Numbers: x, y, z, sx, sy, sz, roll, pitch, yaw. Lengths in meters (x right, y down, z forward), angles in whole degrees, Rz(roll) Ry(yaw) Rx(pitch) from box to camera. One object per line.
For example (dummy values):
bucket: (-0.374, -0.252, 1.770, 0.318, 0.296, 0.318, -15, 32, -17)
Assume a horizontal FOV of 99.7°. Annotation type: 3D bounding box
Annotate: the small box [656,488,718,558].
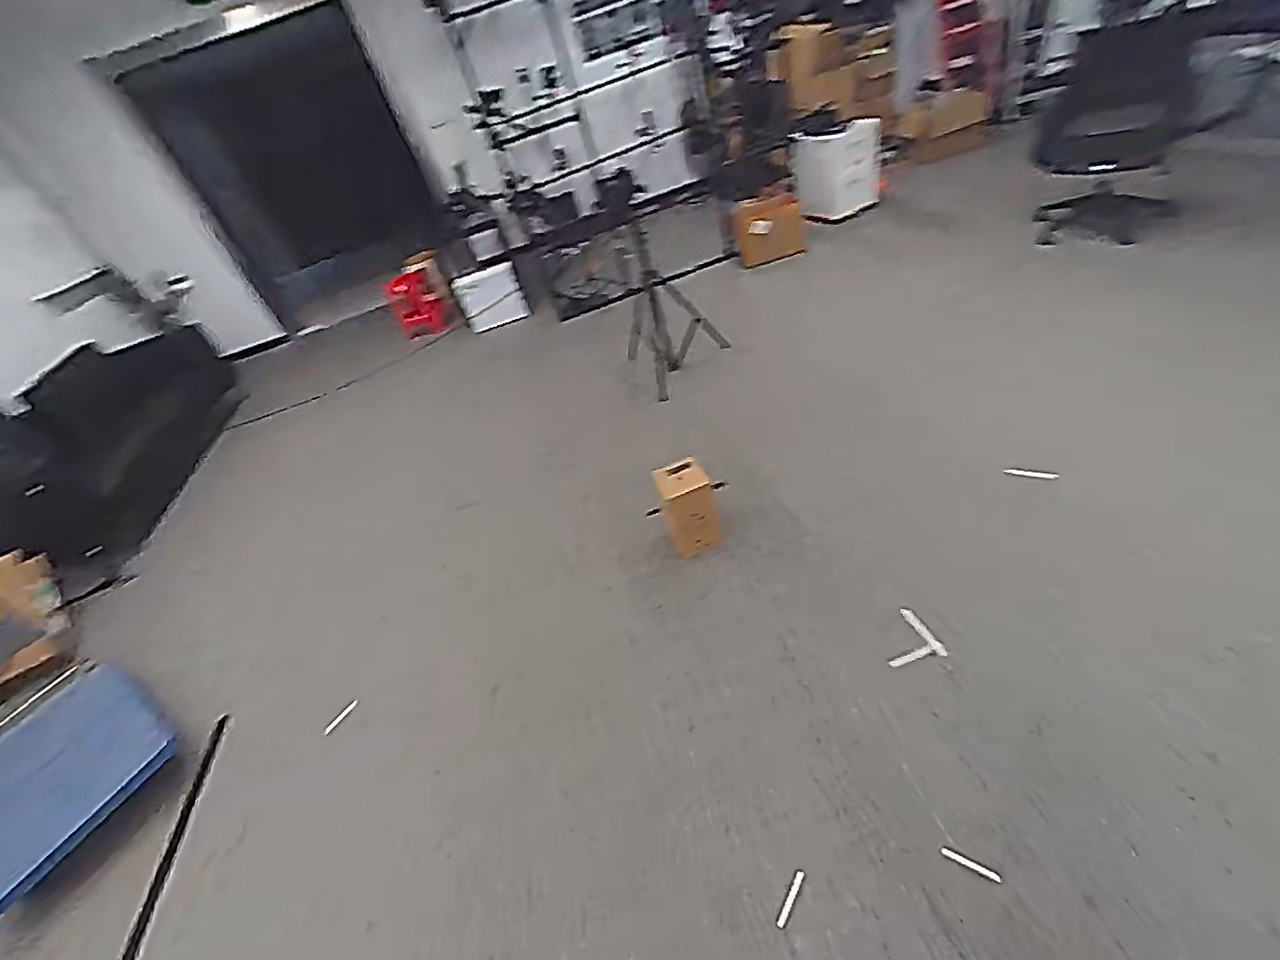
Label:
small box: (0.182, 0.168, 2.081, 0.168, 0.176, 0.179, -25, 39, -6)
